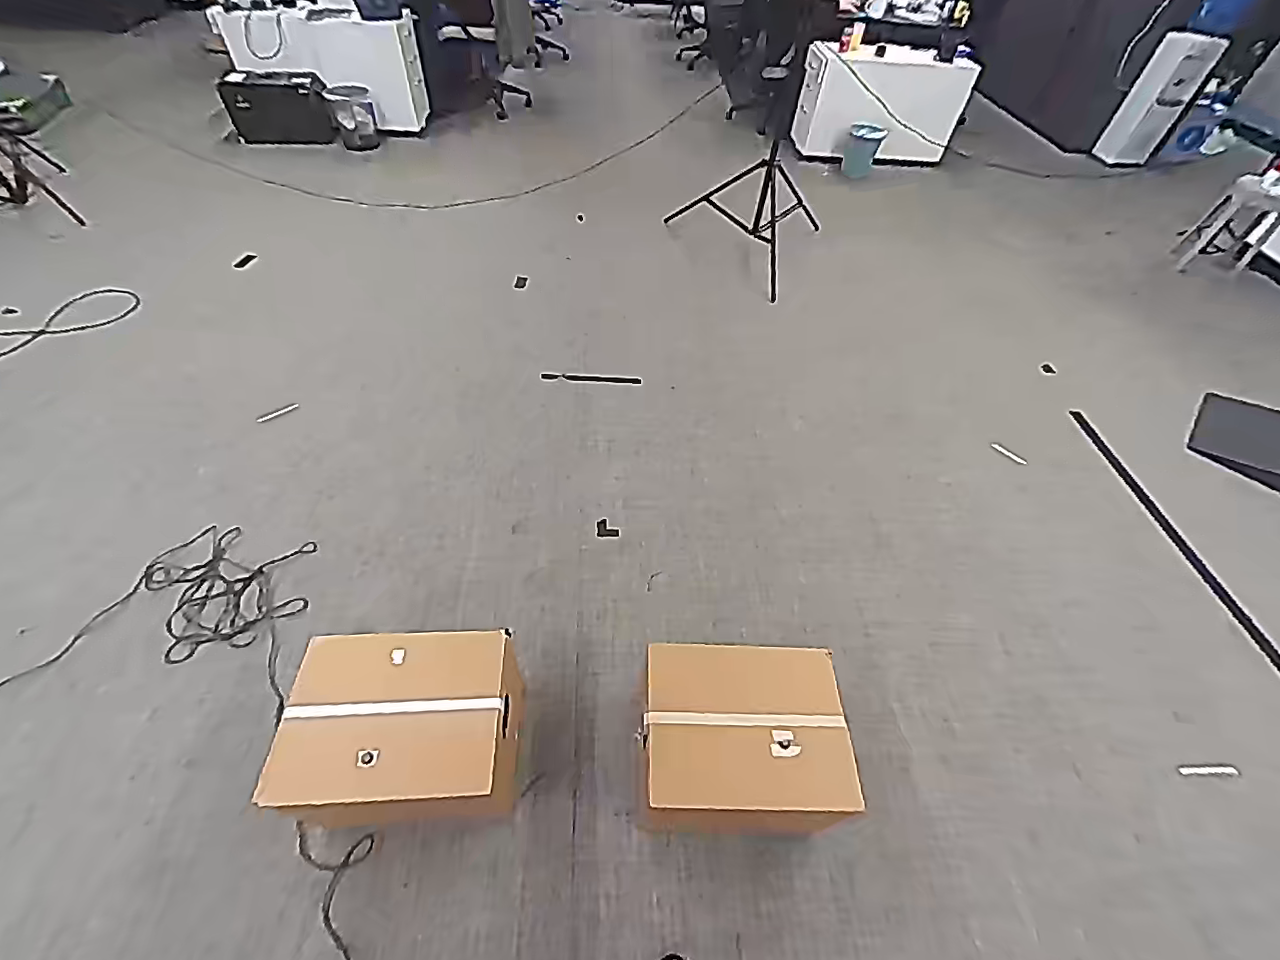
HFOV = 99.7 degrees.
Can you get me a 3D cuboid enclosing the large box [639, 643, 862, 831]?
[{"bbox_3d":[0.208,0.579,1.209,0.408,0.320,0.320,3,50,-3],"label":"large box"}]
